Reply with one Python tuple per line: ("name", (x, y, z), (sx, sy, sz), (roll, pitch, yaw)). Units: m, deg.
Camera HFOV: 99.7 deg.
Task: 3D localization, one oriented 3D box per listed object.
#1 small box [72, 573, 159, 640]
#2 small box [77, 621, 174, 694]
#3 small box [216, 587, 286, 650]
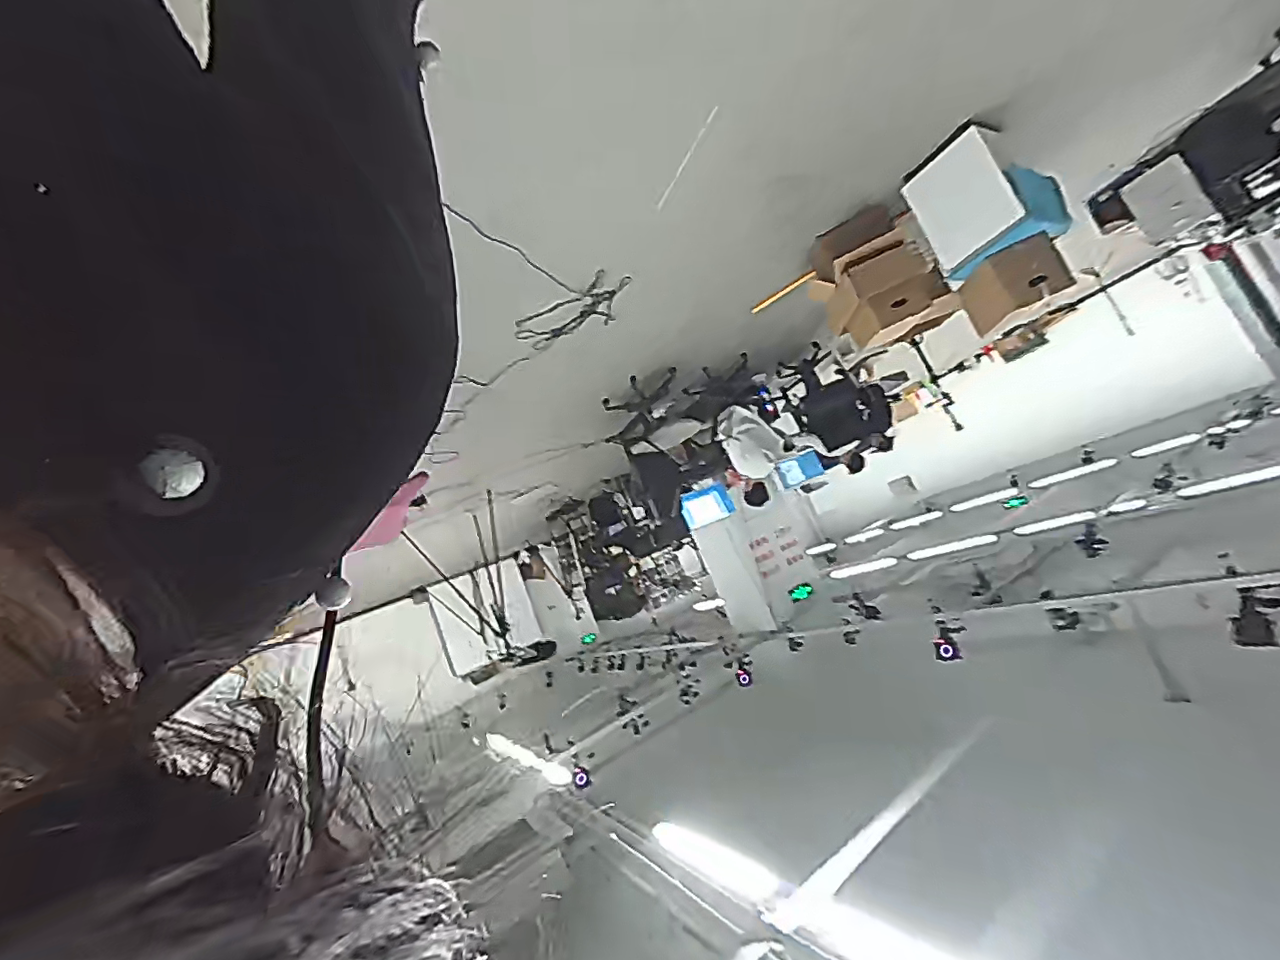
("small box", (-1.723, 0.426, 1.778), (0.179, 0.176, 0.168), (-18, 171, -41))
("small box", (-1.645, 0.565, 1.733), (0.179, 0.176, 0.168), (-18, 171, -36))
("small box", (-1.399, 0.497, 1.950), (0.168, 0.176, 0.179), (-18, 170, -33))
